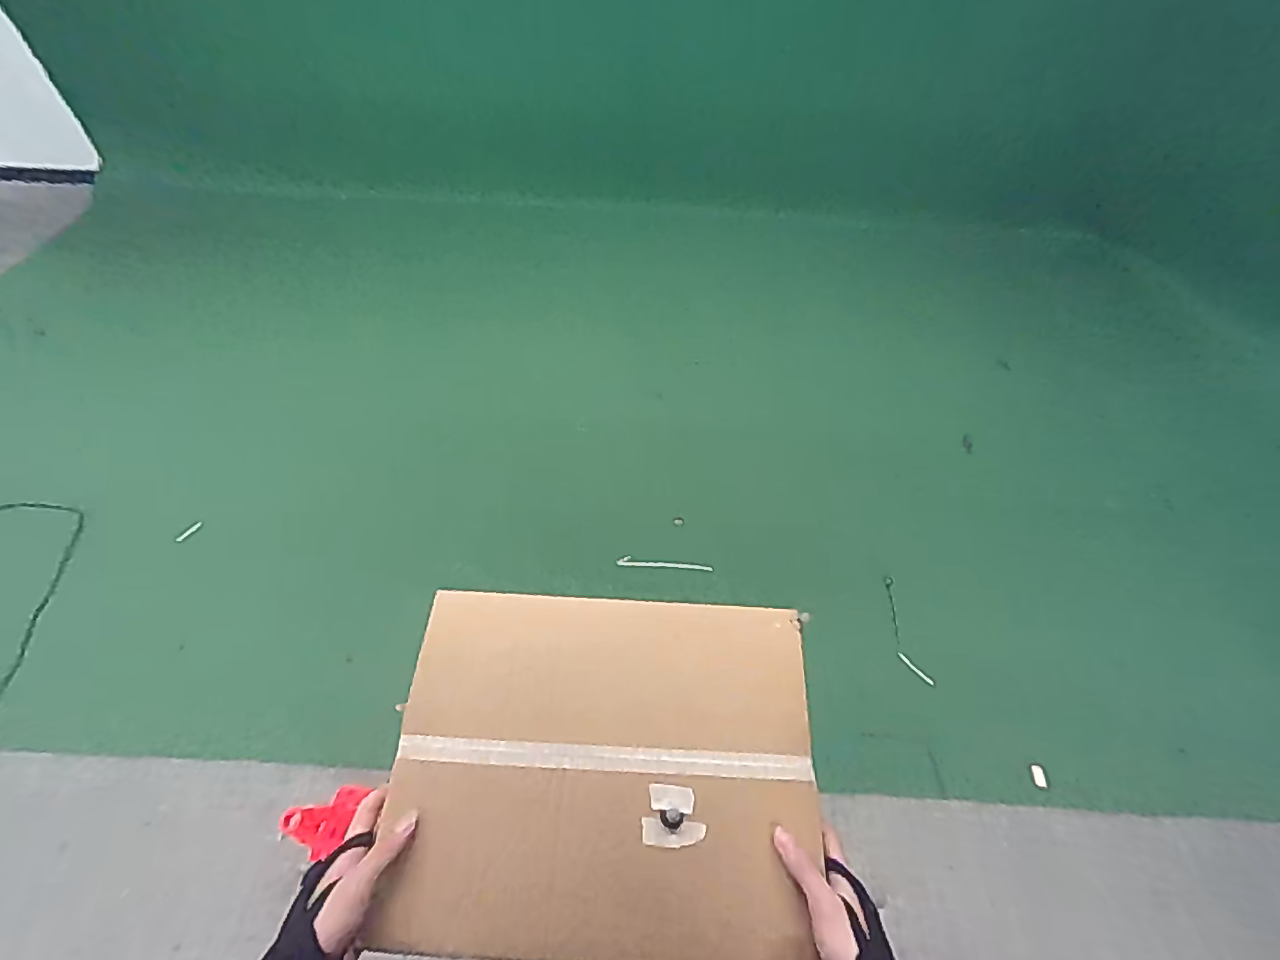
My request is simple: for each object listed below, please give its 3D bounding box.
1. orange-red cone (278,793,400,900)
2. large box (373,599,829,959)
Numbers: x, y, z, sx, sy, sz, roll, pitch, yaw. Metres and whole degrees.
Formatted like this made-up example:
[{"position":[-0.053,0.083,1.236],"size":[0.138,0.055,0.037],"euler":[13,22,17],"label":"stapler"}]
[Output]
[{"position":[-0.684,0.778,1.181],"size":[0.199,0.360,0.198],"euler":[8,51,6],"label":"orange-red cone"},{"position":[-0.034,0.349,0.666],"size":[0.408,0.320,0.320],"euler":[3,61,0],"label":"large box"}]
